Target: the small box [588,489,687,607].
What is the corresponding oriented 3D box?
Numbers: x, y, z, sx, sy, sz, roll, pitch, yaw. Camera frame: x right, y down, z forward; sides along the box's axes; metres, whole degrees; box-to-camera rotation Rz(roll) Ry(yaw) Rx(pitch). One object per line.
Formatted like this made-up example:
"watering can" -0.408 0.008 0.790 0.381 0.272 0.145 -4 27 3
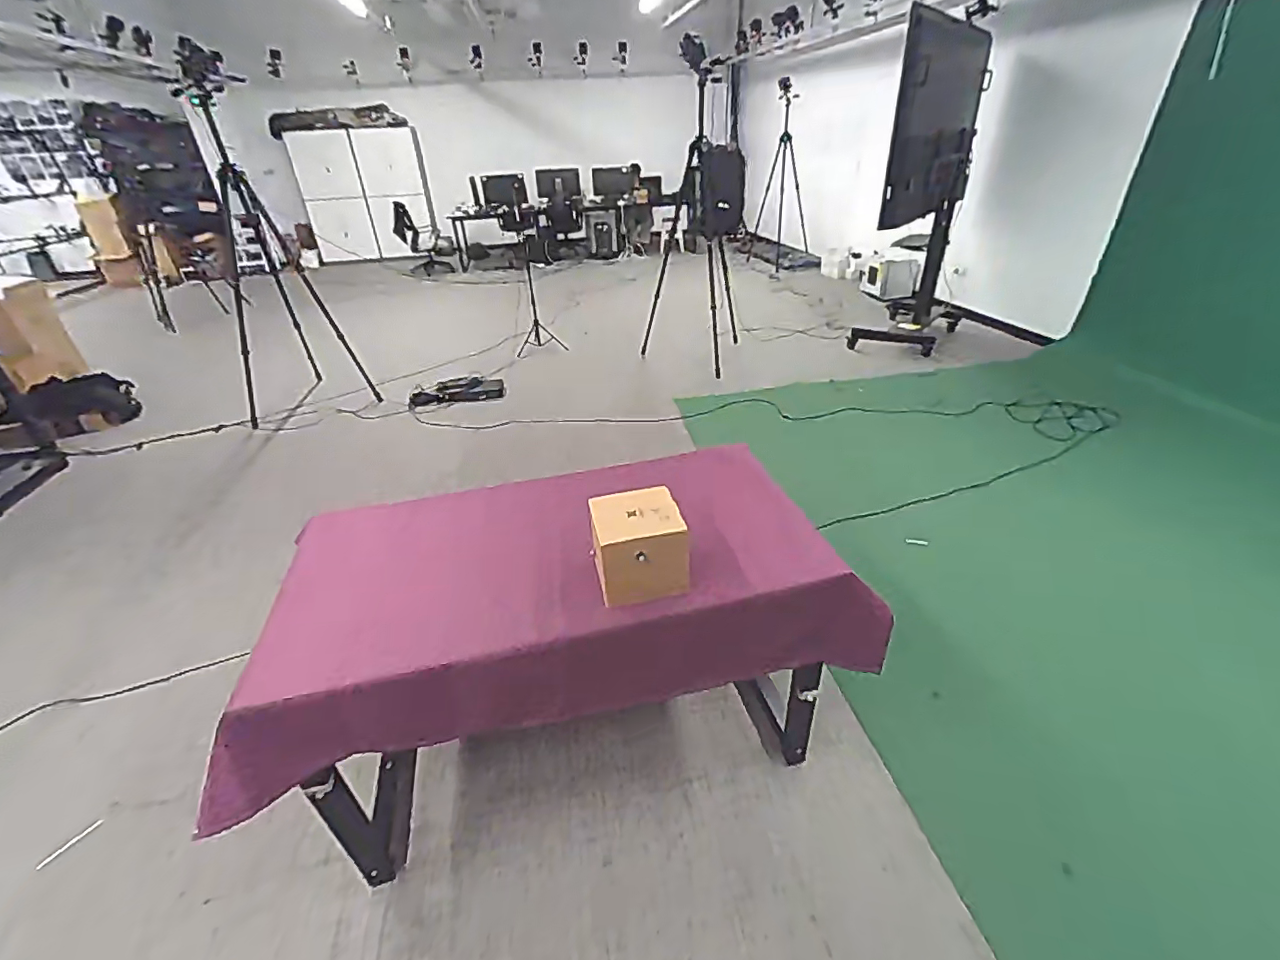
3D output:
"small box" -0.005 0.143 1.131 0.179 0.176 0.168 -9 32 -9
